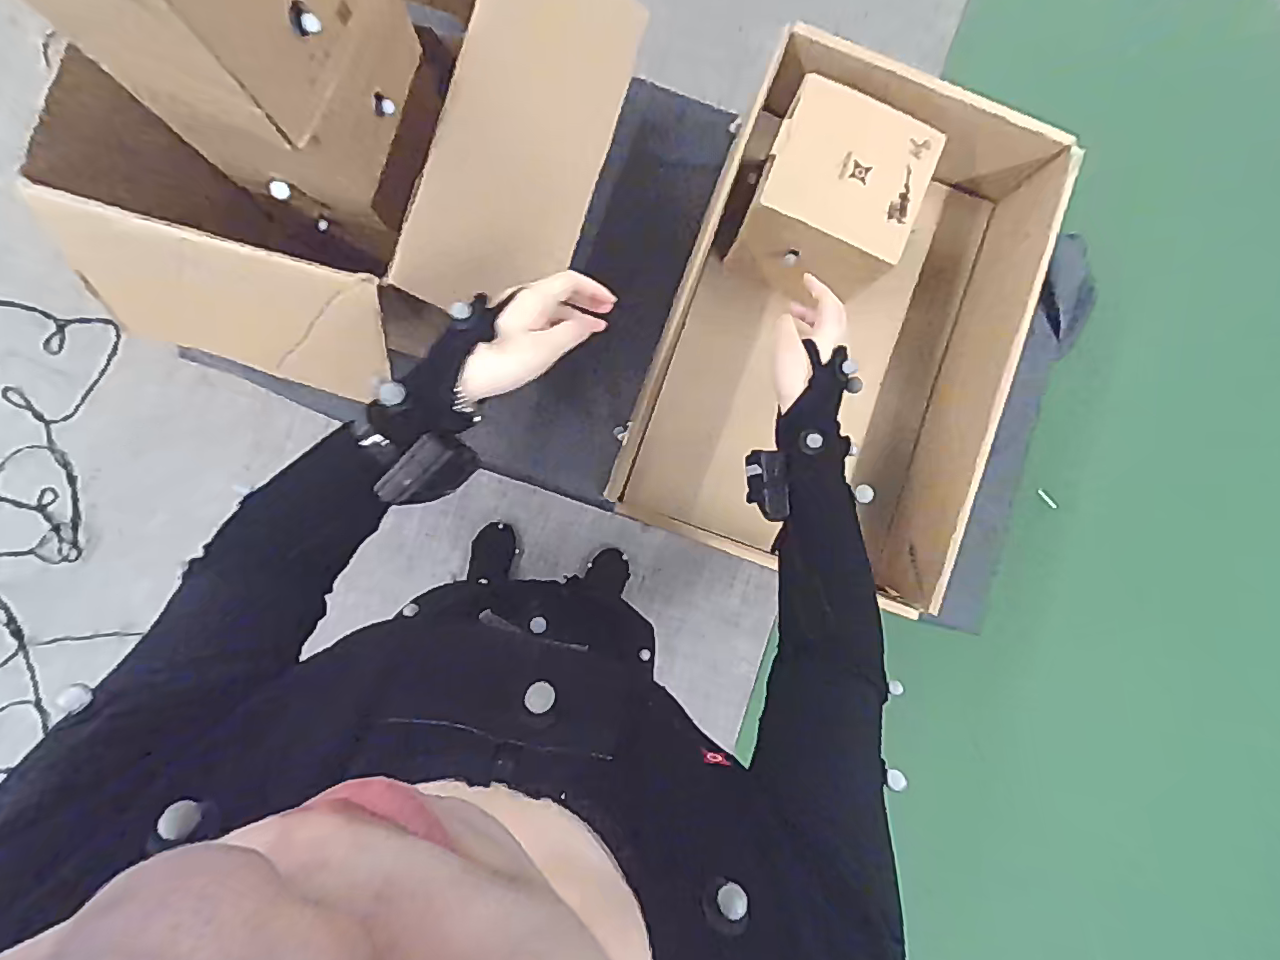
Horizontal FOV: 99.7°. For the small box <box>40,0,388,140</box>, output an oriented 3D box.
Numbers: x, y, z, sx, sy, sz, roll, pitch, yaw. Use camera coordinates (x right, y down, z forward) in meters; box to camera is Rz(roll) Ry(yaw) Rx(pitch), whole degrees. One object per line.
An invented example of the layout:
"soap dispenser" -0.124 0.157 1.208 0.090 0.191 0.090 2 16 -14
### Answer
"small box" -0.301 -0.366 0.345 0.179 0.176 0.168 24 87 -4
